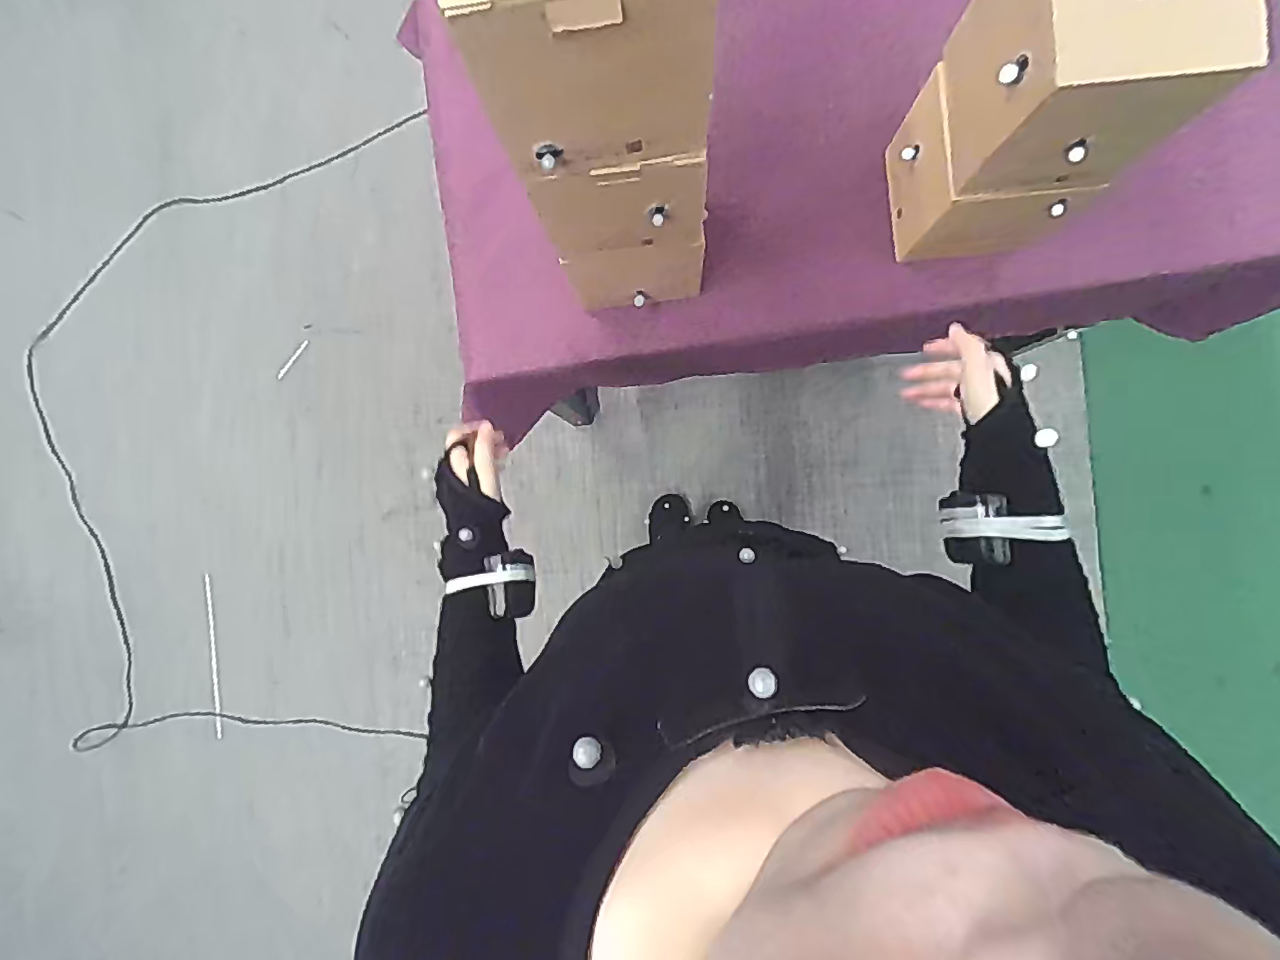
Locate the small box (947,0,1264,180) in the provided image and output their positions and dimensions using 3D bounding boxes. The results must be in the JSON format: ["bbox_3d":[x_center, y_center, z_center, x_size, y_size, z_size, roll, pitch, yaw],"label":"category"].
[{"bbox_3d":[0.420,-0.414,0.519,0.168,0.176,0.179,-2,89,4],"label":"small box"}]

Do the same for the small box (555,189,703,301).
[{"bbox_3d":[-0.015,-0.351,0.716,0.179,0.176,0.168,-5,88,4],"label":"small box"}]

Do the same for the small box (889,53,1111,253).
[{"bbox_3d":[0.432,-0.405,0.682,0.179,0.176,0.168,-5,88,3],"label":"small box"}]

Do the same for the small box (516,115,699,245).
[{"bbox_3d":[-0.027,-0.359,0.553,0.168,0.176,0.179,-4,88,4],"label":"small box"}]

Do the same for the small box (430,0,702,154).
[{"bbox_3d":[-0.046,-0.367,0.389,0.168,0.176,0.179,-7,87,3],"label":"small box"}]
